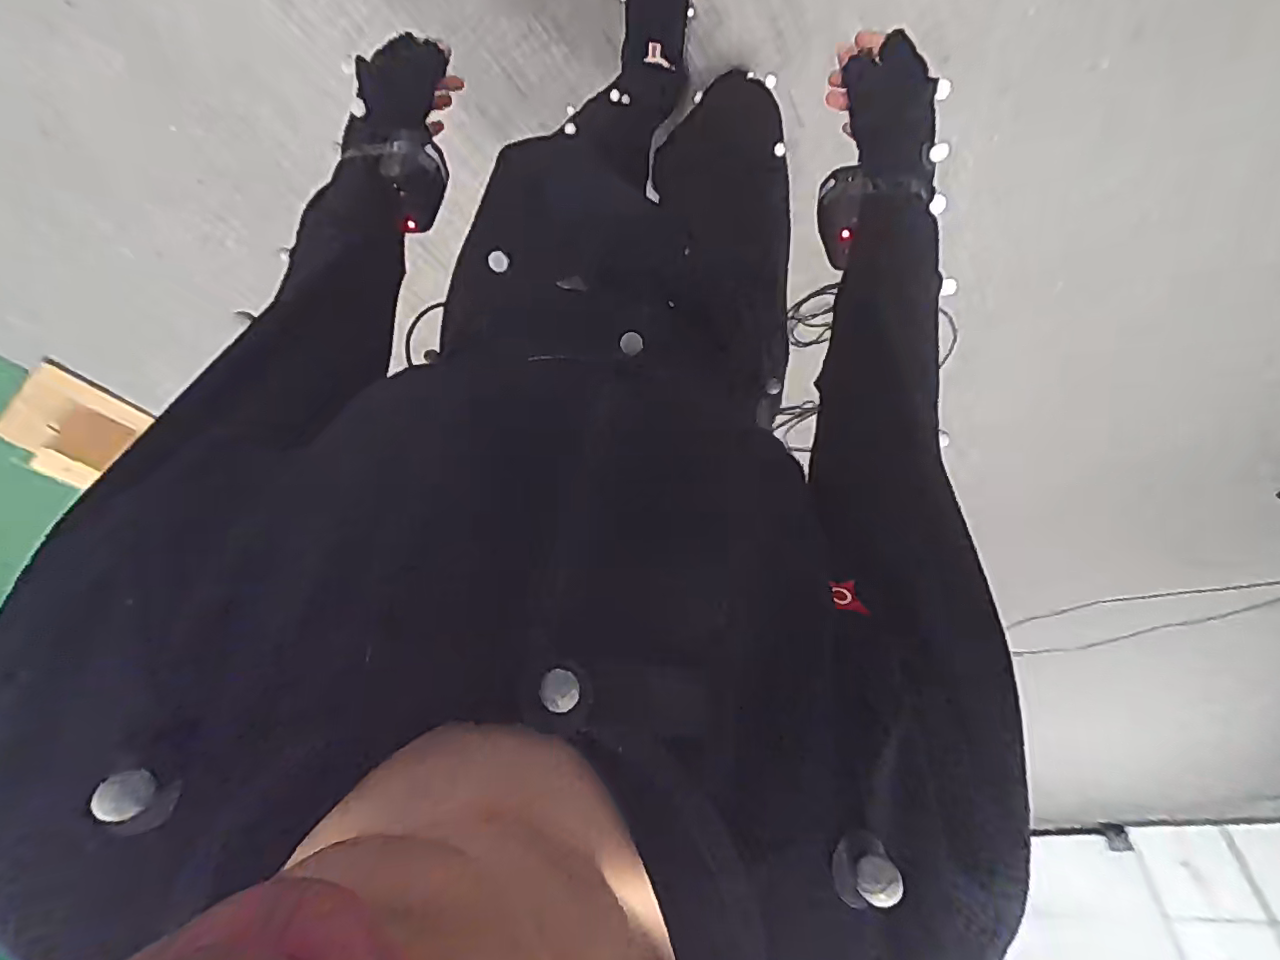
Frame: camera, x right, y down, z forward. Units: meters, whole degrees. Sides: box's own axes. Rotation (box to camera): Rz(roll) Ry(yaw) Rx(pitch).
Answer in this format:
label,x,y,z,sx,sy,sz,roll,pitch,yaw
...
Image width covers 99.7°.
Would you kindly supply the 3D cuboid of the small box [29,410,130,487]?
label,x,y,z,sx,sy,sz,roll,pitch,yaw
small box,-1.928,-0.108,1.868,0.179,0.176,0.168,-24,134,28
